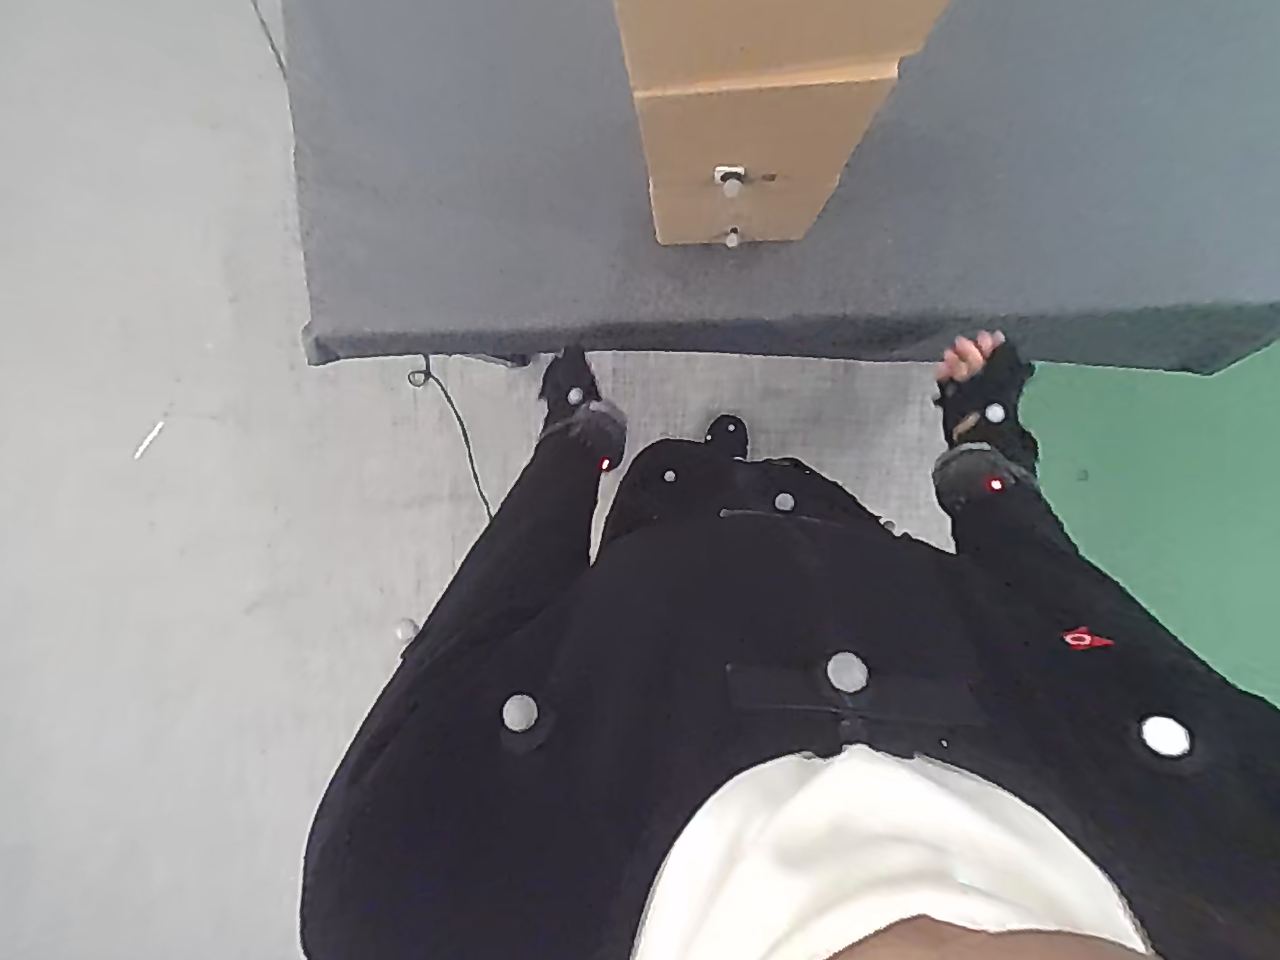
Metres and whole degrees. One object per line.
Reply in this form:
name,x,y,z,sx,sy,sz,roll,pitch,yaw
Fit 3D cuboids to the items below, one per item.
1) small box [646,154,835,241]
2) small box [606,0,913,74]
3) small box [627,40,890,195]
small box,0.098,-0.363,0.570,0.179,0.176,0.168,1,97,5
small box,0.061,-0.326,0.248,0.179,0.176,0.168,-1,97,7
small box,0.081,-0.343,0.410,0.168,0.176,0.179,0,98,7
